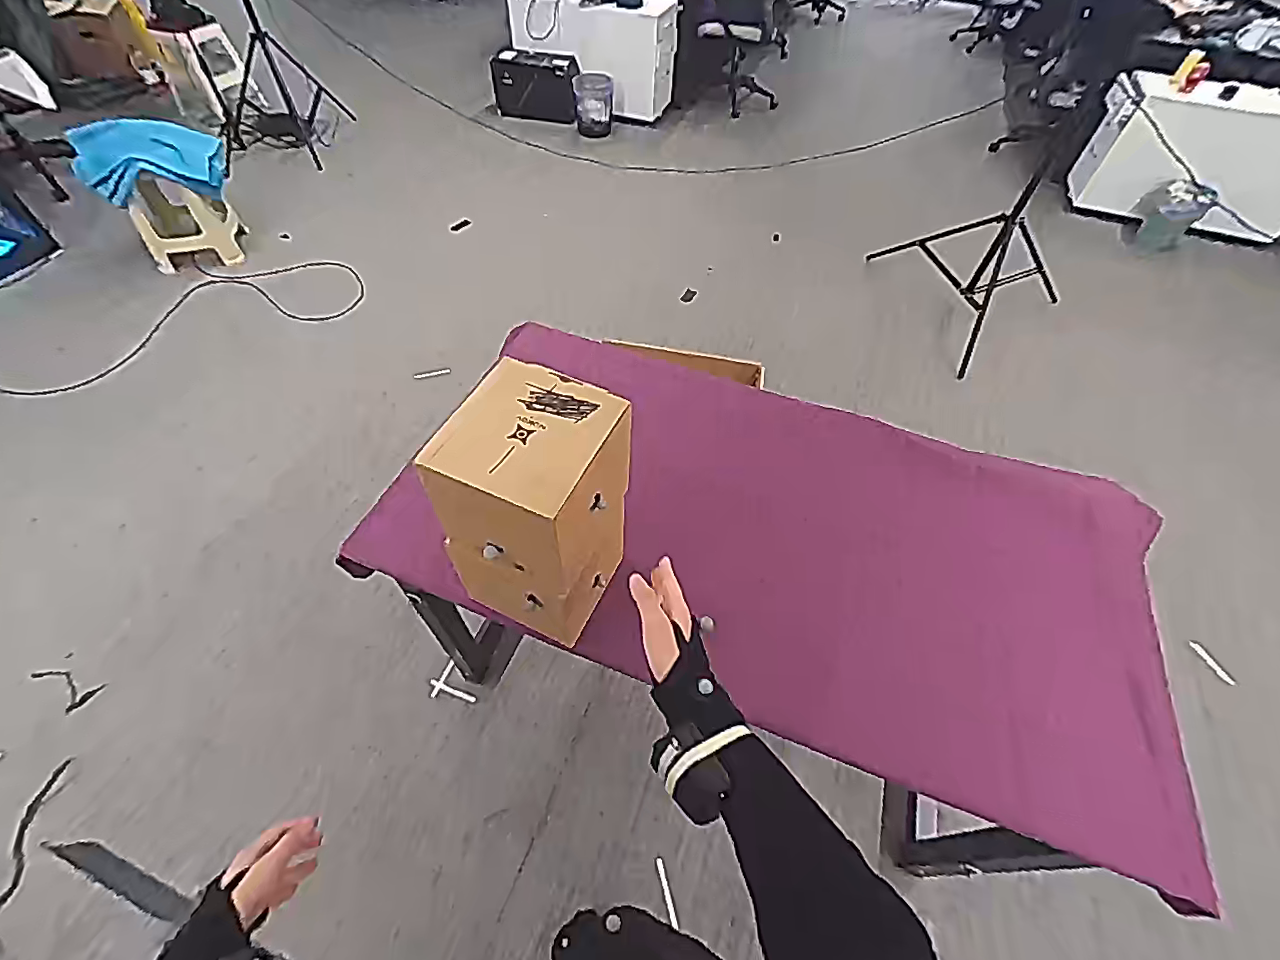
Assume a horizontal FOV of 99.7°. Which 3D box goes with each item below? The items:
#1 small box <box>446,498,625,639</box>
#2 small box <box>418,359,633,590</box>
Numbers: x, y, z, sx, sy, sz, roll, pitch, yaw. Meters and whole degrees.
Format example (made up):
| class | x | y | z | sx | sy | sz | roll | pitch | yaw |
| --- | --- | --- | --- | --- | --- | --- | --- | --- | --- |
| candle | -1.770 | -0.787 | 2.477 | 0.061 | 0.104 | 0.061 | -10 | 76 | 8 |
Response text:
| class | x | y | z | sx | sy | sz | roll | pitch | yaw |
| --- | --- | --- | --- | --- | --- | --- | --- | --- | --- |
| small box | -0.133 | 0.101 | 0.760 | 0.179 | 0.176 | 0.168 | 22 | 55 | 14 |
| small box | -0.120 | -0.004 | 0.634 | 0.168 | 0.176 | 0.179 | 21 | 56 | 13 |
